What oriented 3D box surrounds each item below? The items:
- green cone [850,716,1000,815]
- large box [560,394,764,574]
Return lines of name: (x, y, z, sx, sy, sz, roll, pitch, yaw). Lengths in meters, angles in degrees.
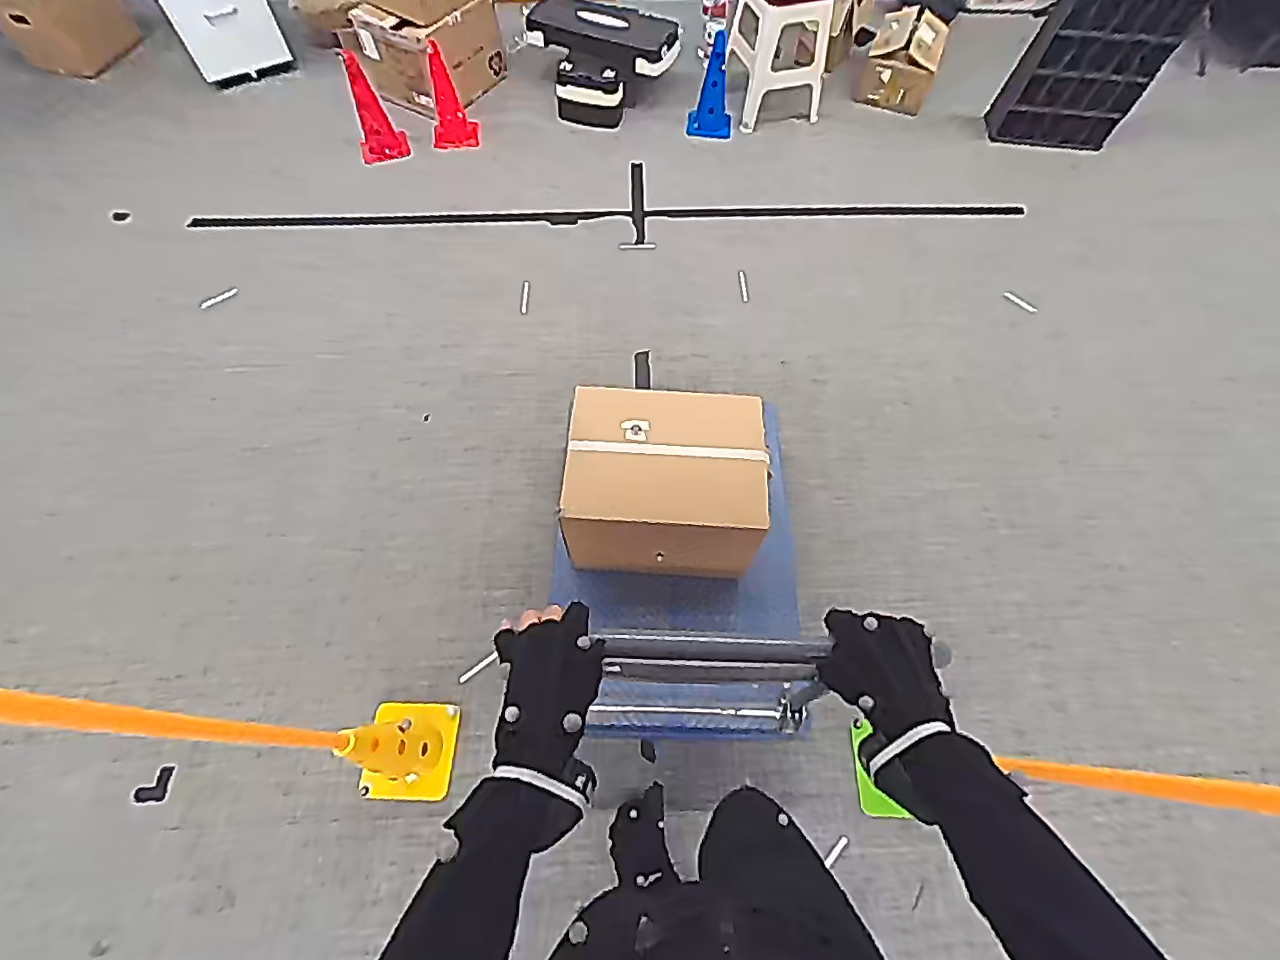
green cone: (0.607, 0.584, 1.114, 0.202, 0.368, 0.200, 3, 62, -1)
large box: (0.049, 0.021, 1.244, 0.408, 0.320, 0.320, 3, 62, 1)
